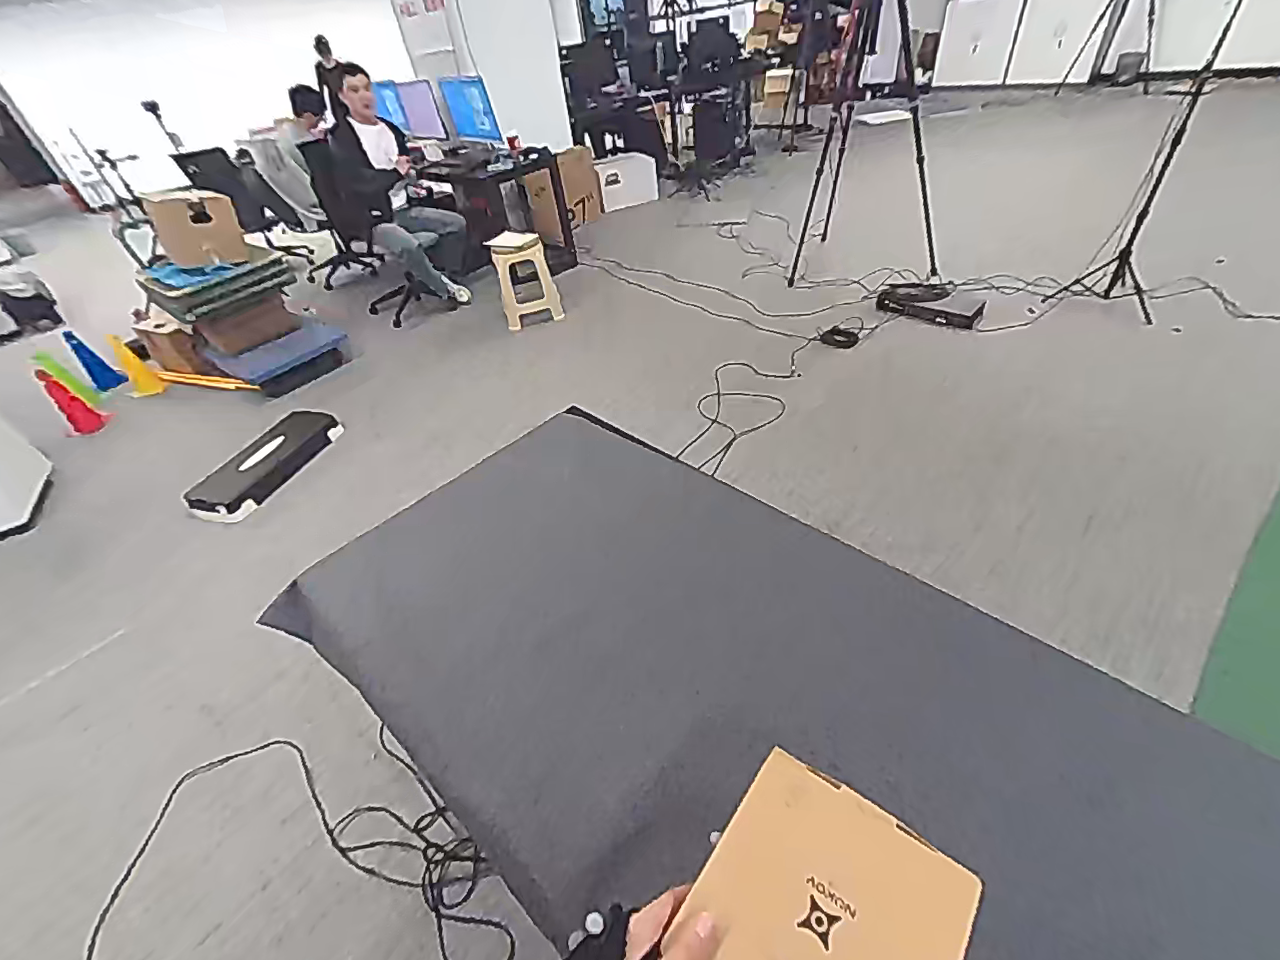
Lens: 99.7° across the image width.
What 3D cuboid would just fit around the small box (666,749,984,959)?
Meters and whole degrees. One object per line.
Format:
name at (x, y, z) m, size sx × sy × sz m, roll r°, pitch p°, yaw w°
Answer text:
small box at (0.140, 0.366, 0.430) m, size 0.168 × 0.176 × 0.179 m, roll 22°, pitch 50°, yaw 32°
